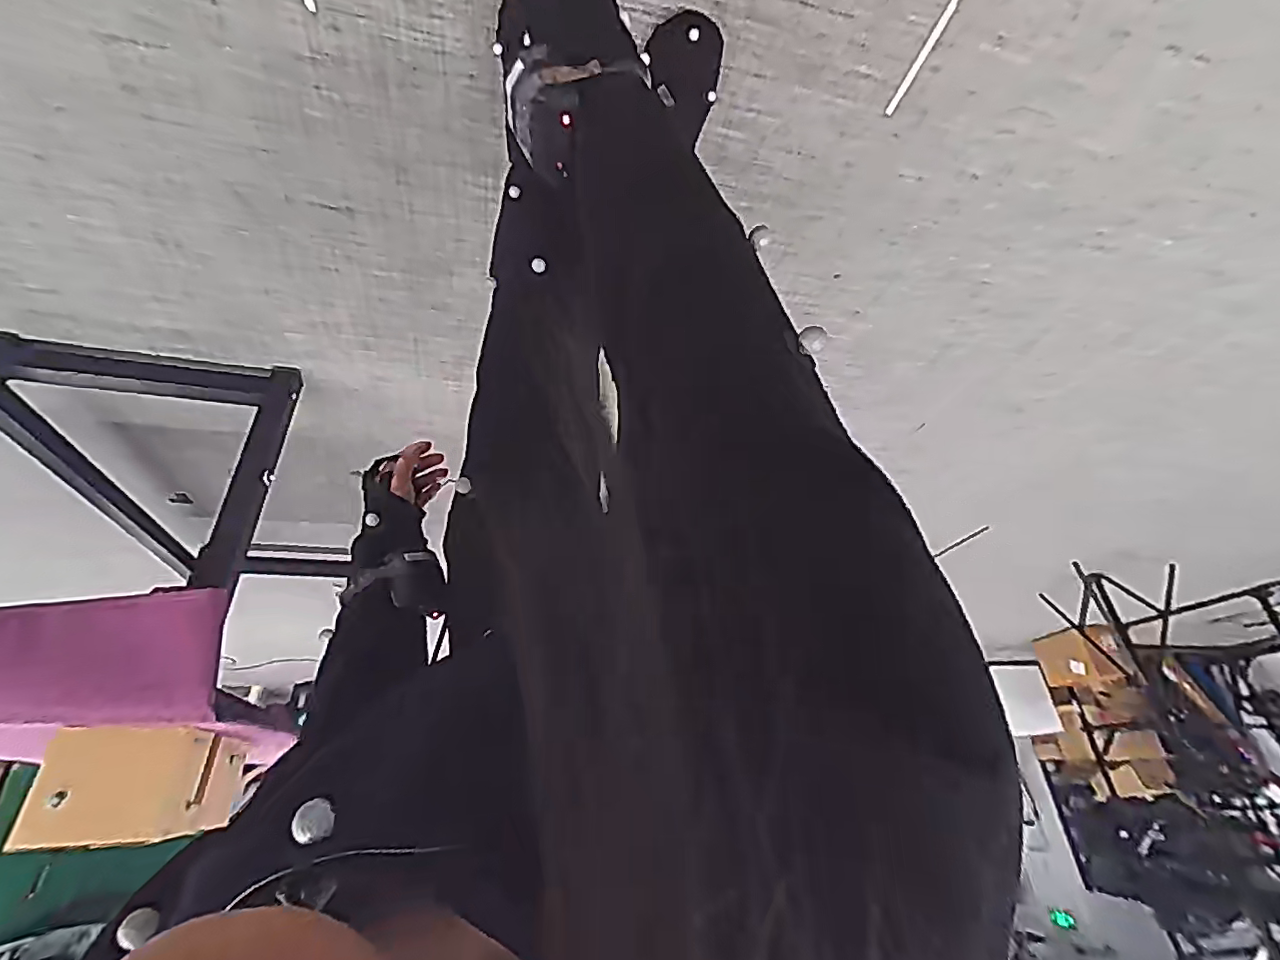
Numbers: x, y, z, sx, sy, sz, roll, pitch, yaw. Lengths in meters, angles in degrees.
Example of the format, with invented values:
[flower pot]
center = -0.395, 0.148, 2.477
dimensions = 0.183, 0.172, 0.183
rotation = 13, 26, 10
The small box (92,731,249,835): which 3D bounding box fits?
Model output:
[small box]
center = -0.927, 0.604, 1.088
dimensions = 0.168, 0.176, 0.179
rotation = 5, 149, -15
